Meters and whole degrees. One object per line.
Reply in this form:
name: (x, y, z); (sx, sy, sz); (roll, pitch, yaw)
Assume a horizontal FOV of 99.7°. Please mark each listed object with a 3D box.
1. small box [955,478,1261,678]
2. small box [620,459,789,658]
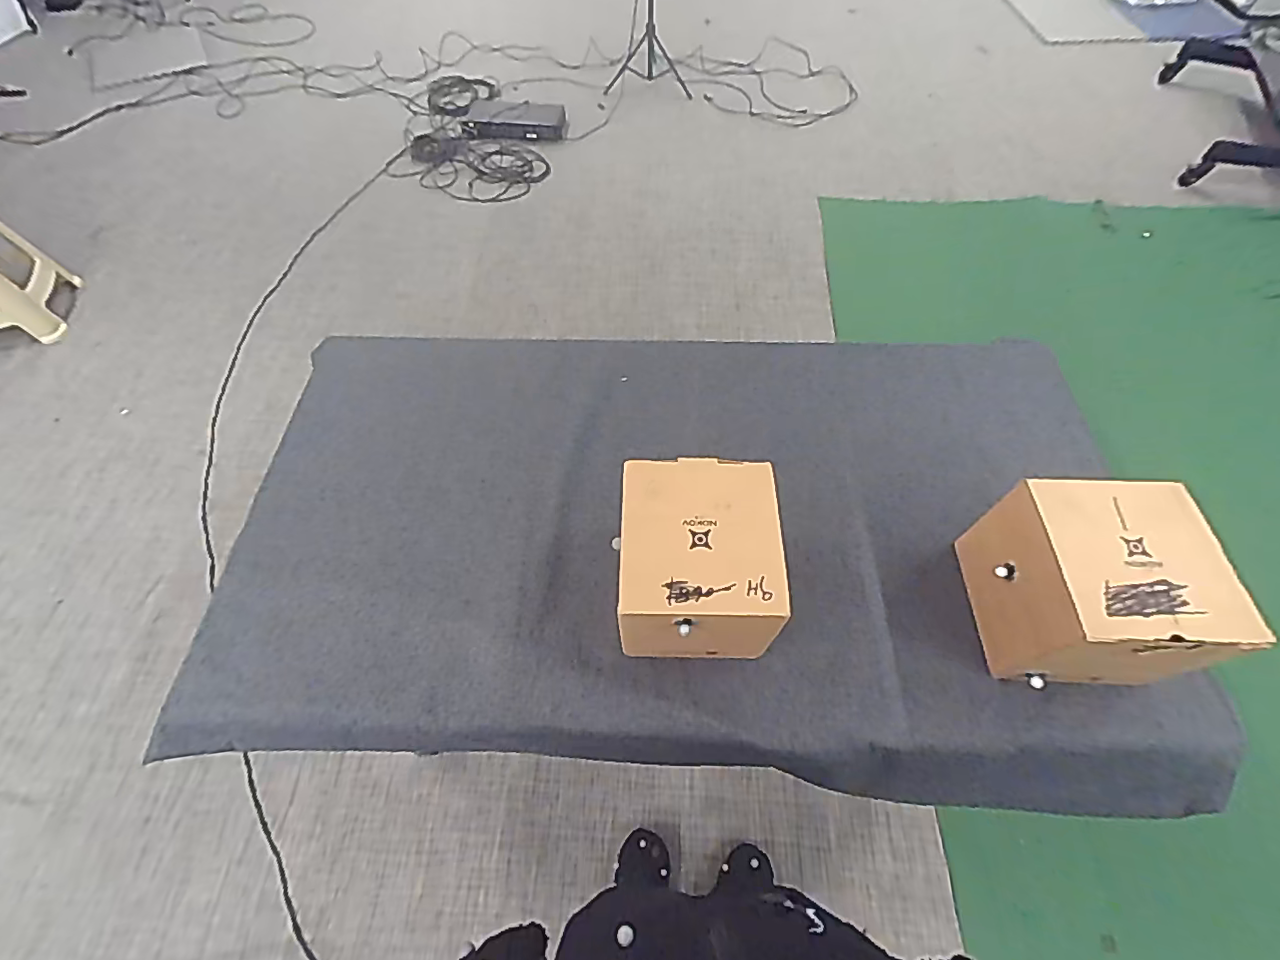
small box: (0.491, 0.116, 0.606); (0.168, 0.176, 0.179); (2, 57, 3)
small box: (0.064, 0.094, 0.629); (0.168, 0.176, 0.179); (1, 58, 2)
